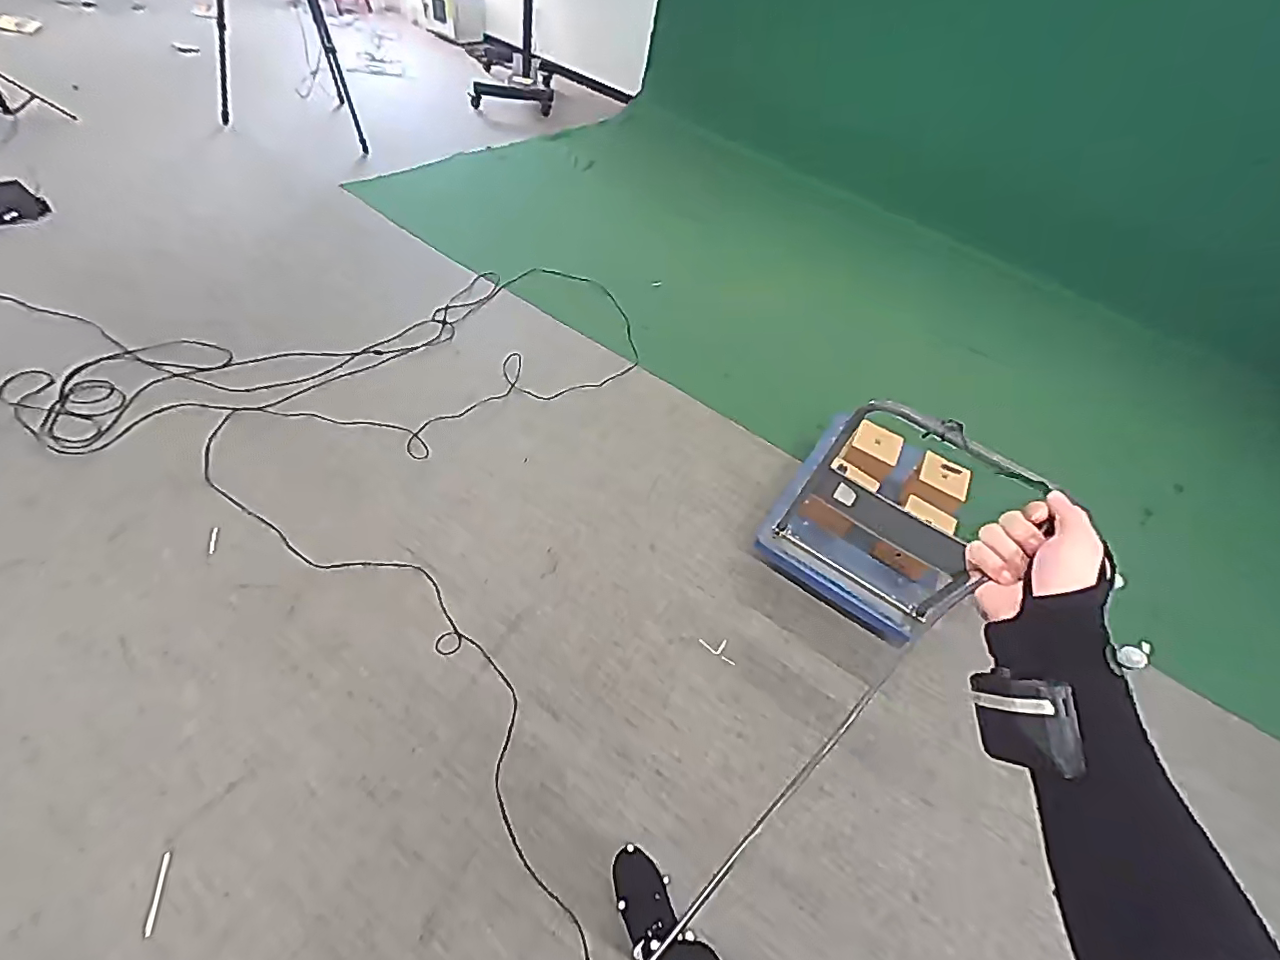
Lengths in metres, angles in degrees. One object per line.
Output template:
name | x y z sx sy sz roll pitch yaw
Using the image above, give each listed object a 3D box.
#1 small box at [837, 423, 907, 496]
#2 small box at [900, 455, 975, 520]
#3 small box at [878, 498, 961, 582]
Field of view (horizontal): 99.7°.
small box | 0.858 -0.073 2.010 0.168 0.176 0.179 30 50 12
small box | 1.072 0.047 1.957 0.168 0.176 0.179 29 51 13
small box | 0.922 0.201 1.794 0.168 0.176 0.179 33 52 15
